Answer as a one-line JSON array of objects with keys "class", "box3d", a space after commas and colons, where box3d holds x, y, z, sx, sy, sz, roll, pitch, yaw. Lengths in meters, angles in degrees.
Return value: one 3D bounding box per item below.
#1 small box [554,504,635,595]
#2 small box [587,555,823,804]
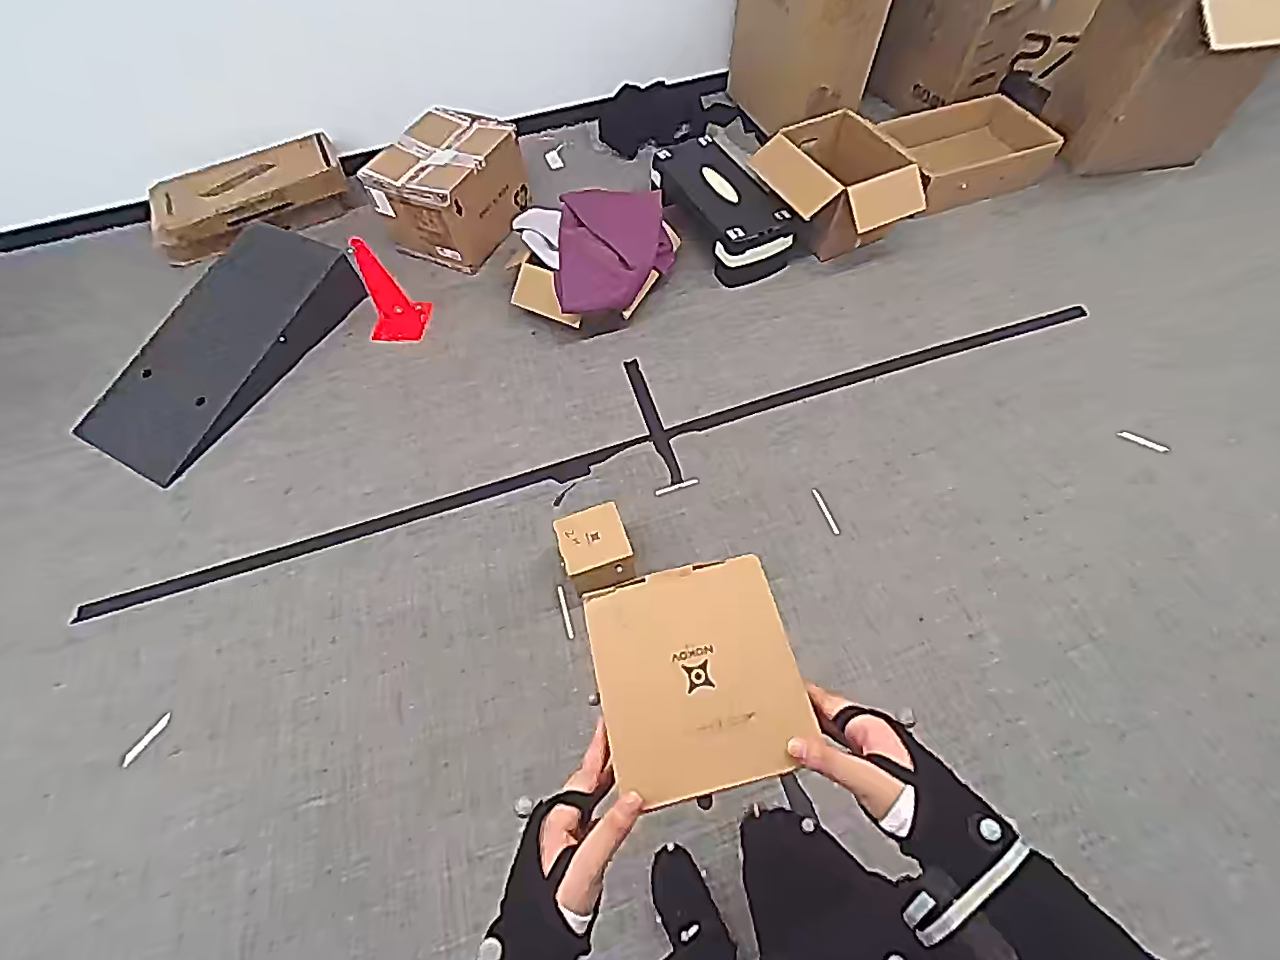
[{"class": "small box", "box3d": [-0.118, 0.192, 1.472, 0.179, 0.176, 0.168, -18, 61, -6]}, {"class": "small box", "box3d": [0.049, 0.196, 0.526, 0.168, 0.176, 0.179, -12, 63, -4]}]
